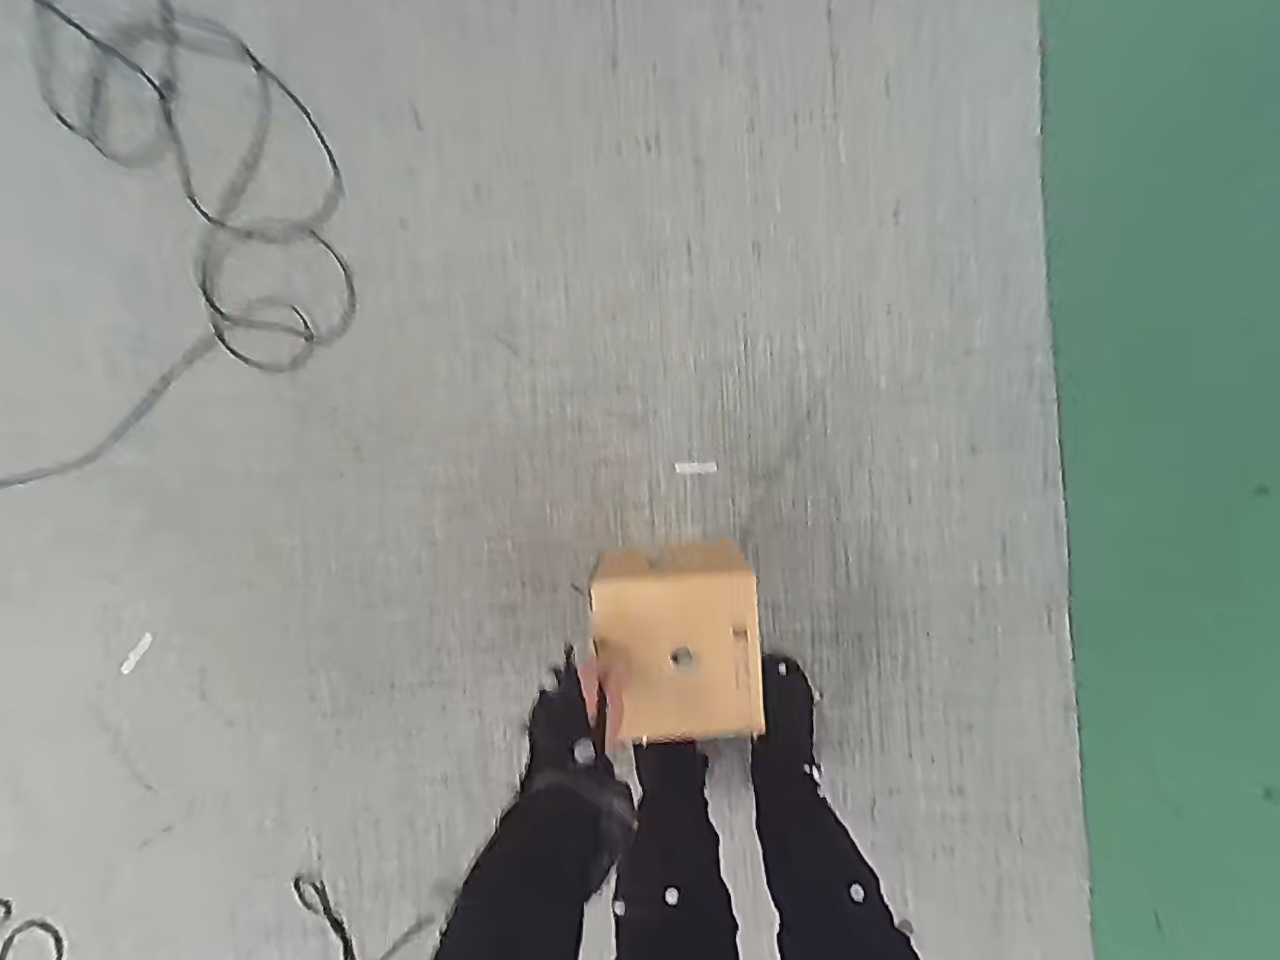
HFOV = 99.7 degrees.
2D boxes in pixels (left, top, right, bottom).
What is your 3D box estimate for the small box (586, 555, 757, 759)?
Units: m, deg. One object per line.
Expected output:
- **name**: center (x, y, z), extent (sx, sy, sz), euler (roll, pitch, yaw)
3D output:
- **small box**: center (0.036, 0.187, 0.622), extent (0.176, 0.179, 0.168), euler (-5, 94, 0)
